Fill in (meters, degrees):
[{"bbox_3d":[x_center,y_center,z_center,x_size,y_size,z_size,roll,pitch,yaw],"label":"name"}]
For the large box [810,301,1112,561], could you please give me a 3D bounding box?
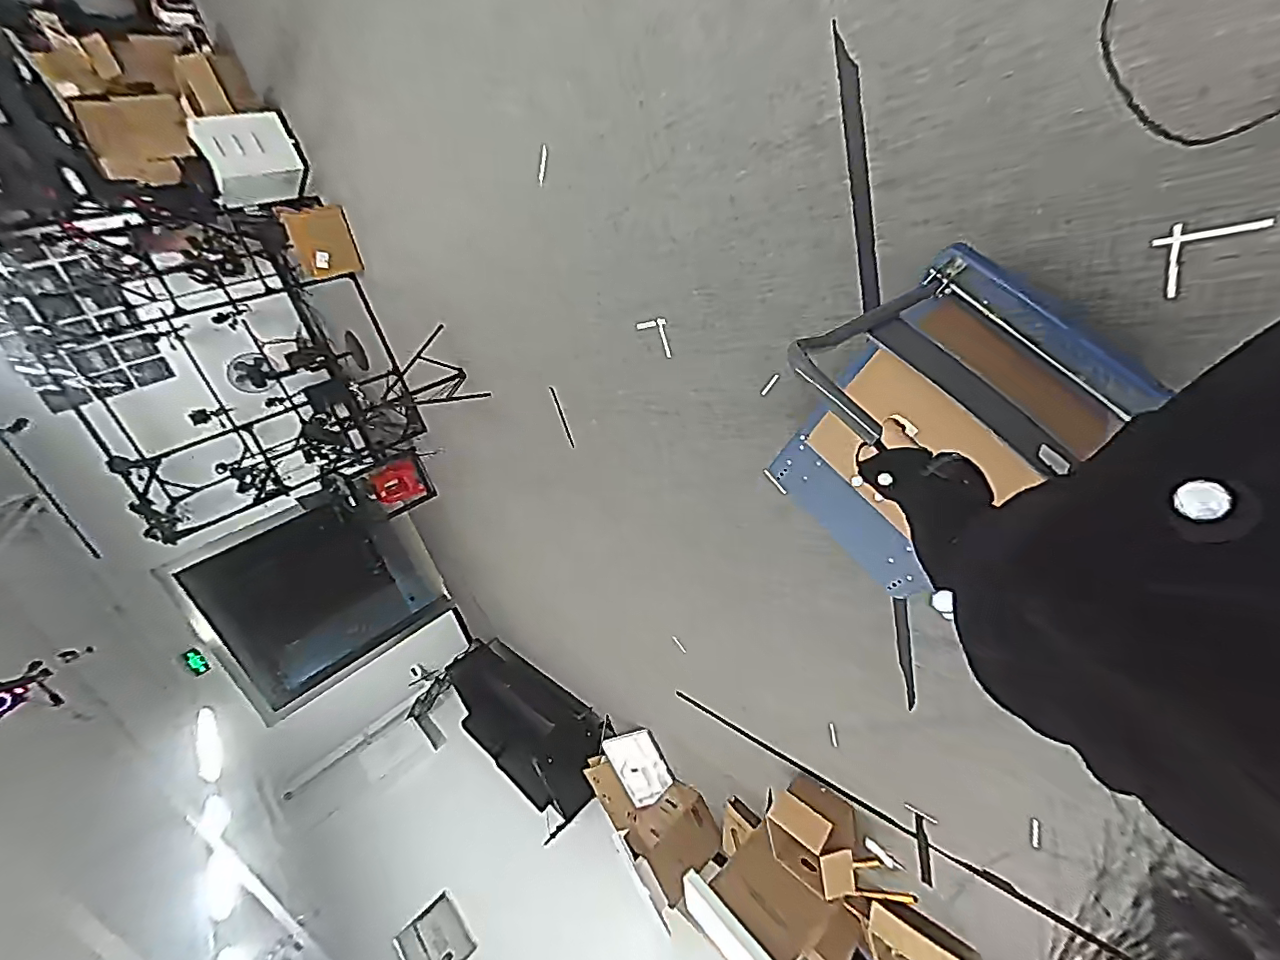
[{"bbox_3d":[0.670,-0.111,1.167,0.408,0.320,0.320,48,146,17],"label":"large box"}]
